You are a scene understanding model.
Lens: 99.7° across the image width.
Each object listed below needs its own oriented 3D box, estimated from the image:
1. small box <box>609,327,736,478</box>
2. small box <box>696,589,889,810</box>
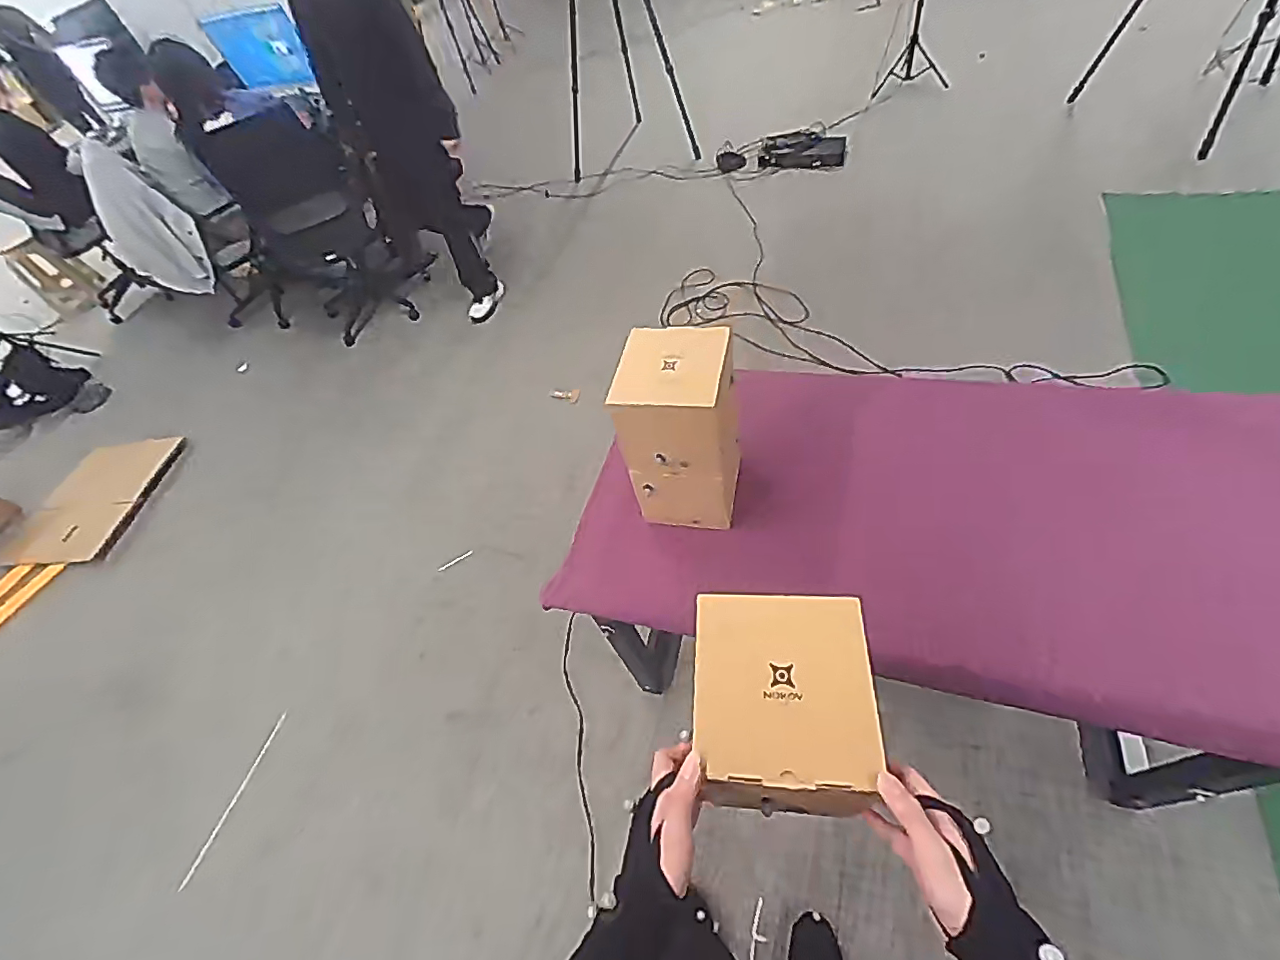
[{"bbox_3d":[0.064,-0.127,0.885,0.168,0.176,0.179,5,55,17],"label":"small box"},{"bbox_3d":[0.147,0.235,0.578,0.168,0.176,0.179,0,54,9],"label":"small box"}]
